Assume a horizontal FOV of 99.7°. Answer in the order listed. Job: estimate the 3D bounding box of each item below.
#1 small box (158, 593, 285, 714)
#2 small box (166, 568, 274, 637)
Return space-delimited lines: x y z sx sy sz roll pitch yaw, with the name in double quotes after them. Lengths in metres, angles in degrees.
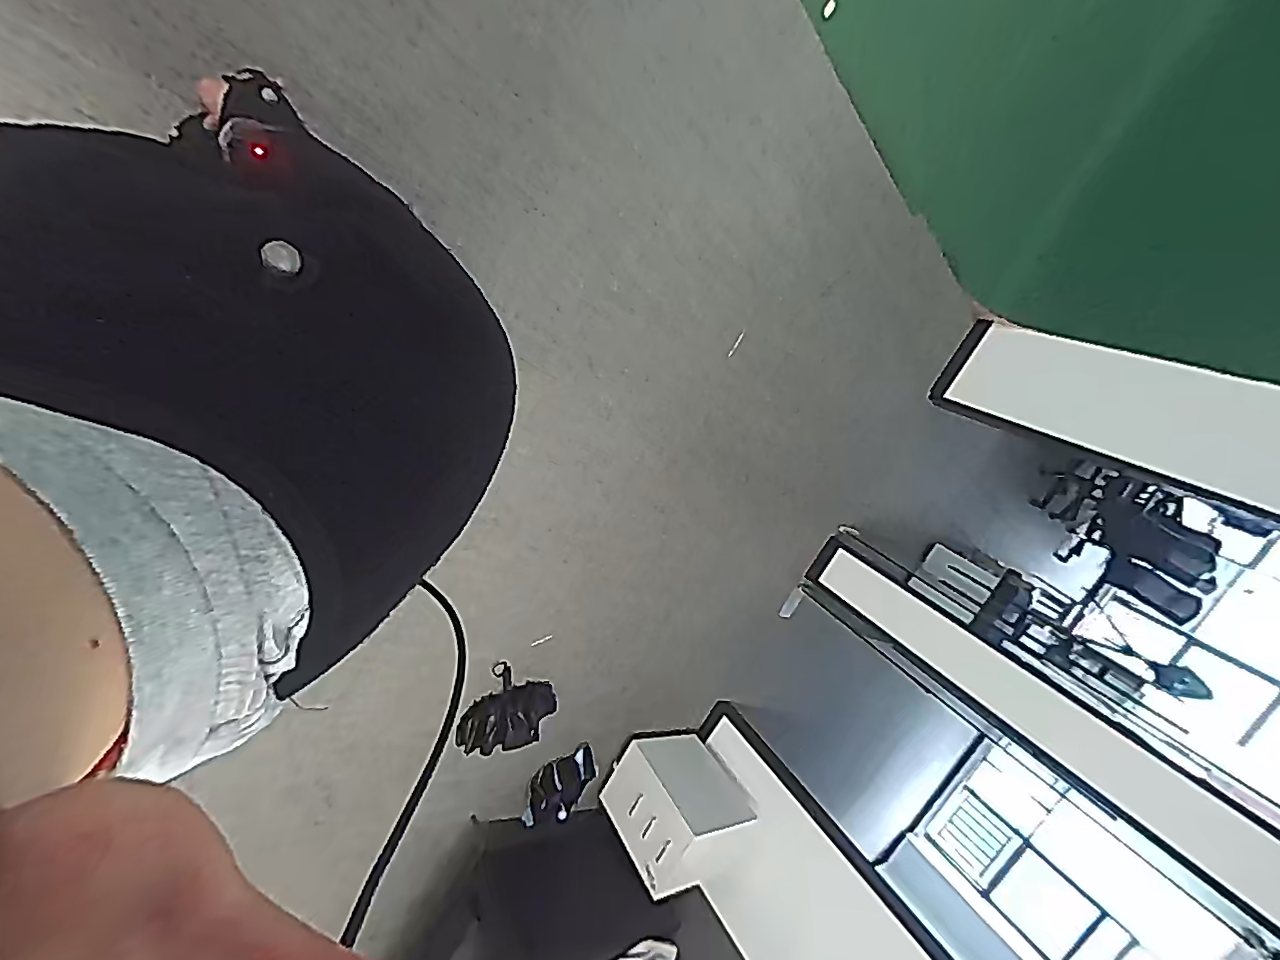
-0.989 0.409 1.291 0.179 0.176 0.168 -38 132 -14 "small box"
-1.088 0.365 1.419 0.168 0.176 0.179 -28 128 -22 "small box"
